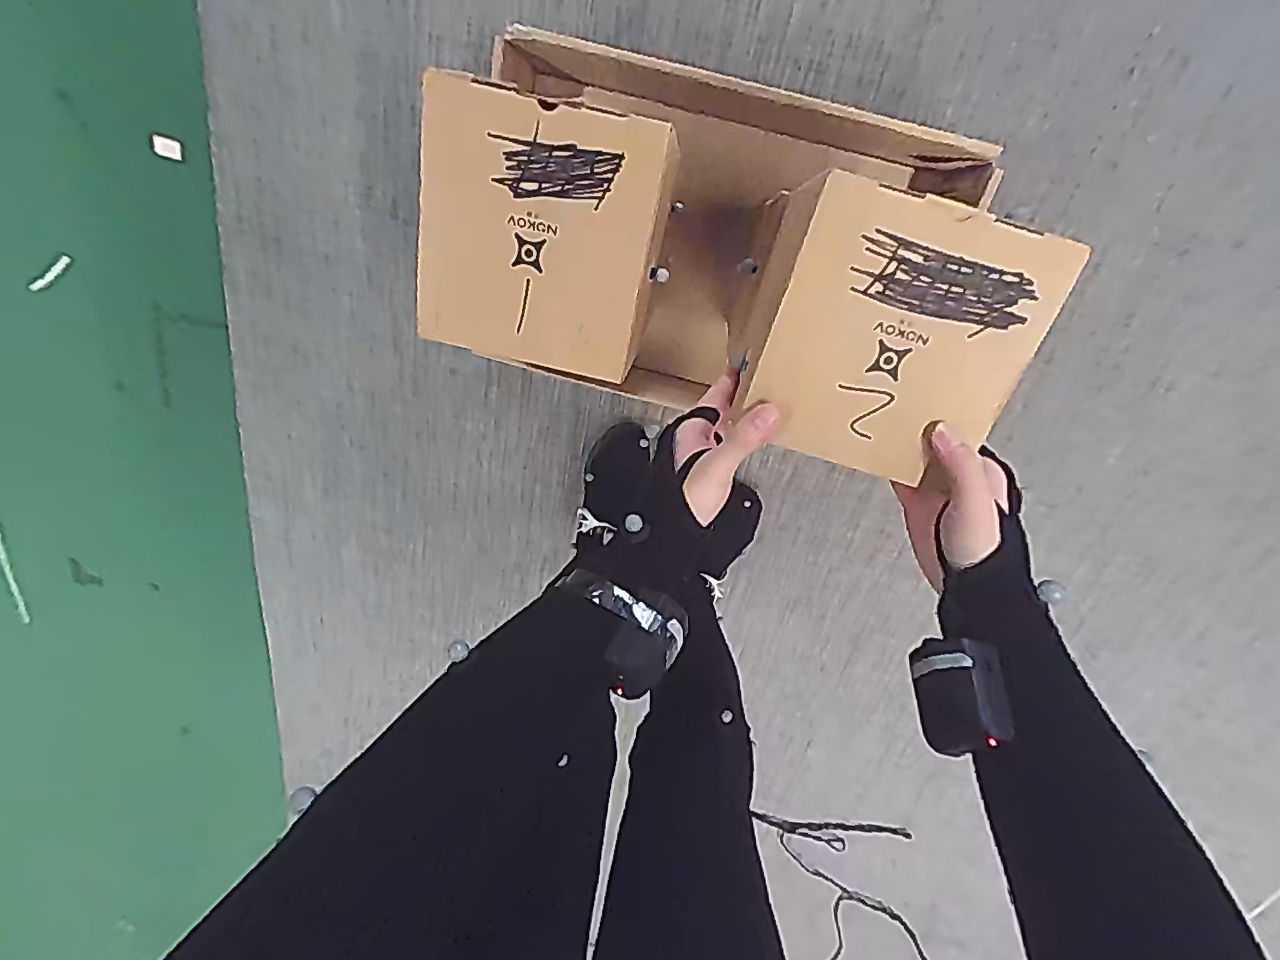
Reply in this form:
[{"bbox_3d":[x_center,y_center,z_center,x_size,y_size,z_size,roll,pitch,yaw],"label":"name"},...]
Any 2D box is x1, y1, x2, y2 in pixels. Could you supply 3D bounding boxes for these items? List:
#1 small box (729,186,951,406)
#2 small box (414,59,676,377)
[{"bbox_3d":[0.199,-0.205,0.603,0.168,0.176,0.179,15,114,2],"label":"small box"},{"bbox_3d":[-0.068,-0.207,0.453,0.168,0.176,0.179,14,115,0],"label":"small box"}]
